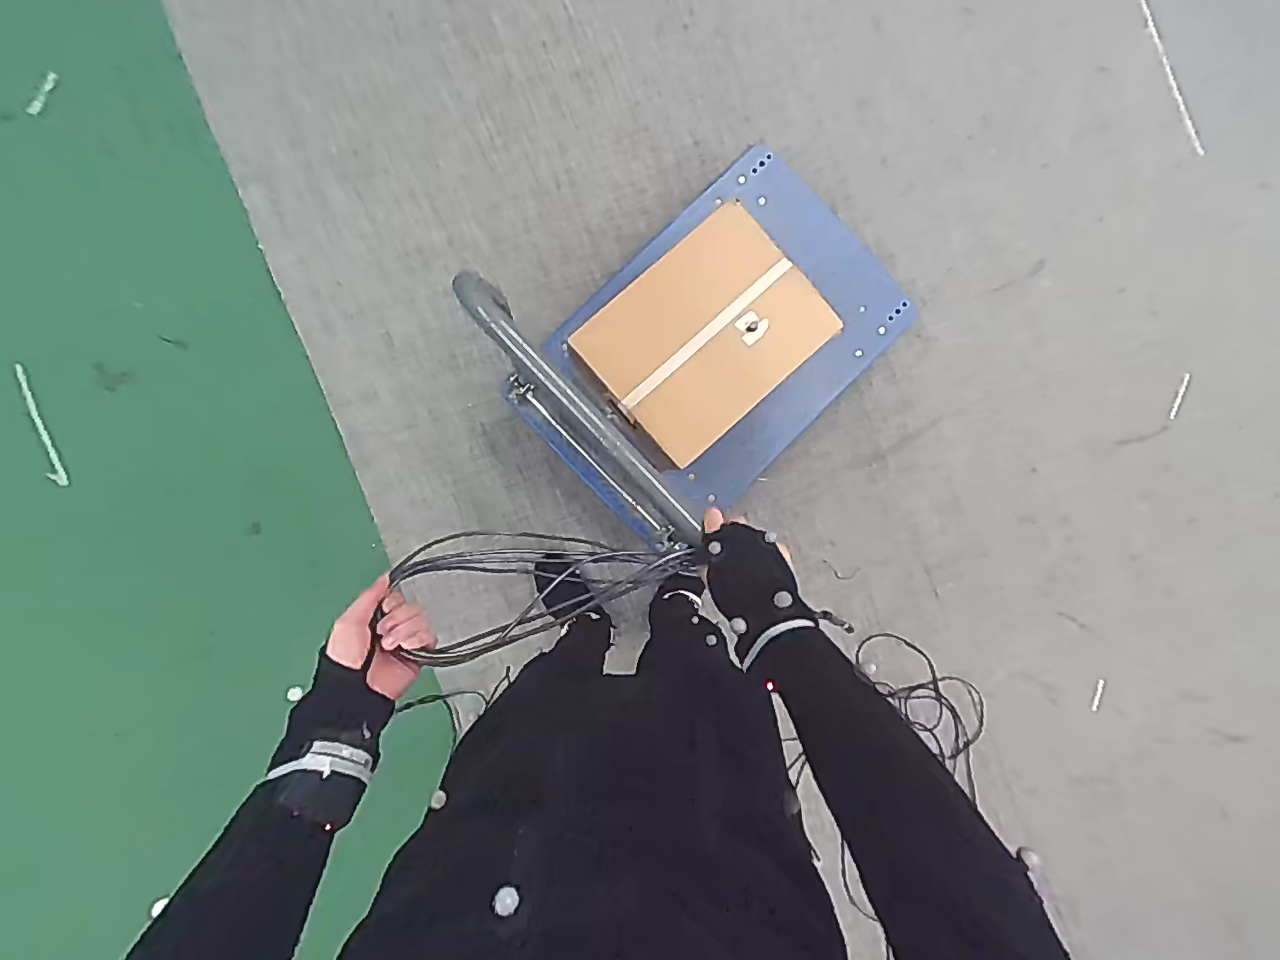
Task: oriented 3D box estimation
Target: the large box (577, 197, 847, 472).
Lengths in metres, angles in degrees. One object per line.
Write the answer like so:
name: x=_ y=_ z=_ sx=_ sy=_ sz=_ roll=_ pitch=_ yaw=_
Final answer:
large box: x=0.122 y=-0.261 z=1.108 sx=0.408 sy=0.320 sz=0.320 roll=-41 pitch=93 yaw=-4
